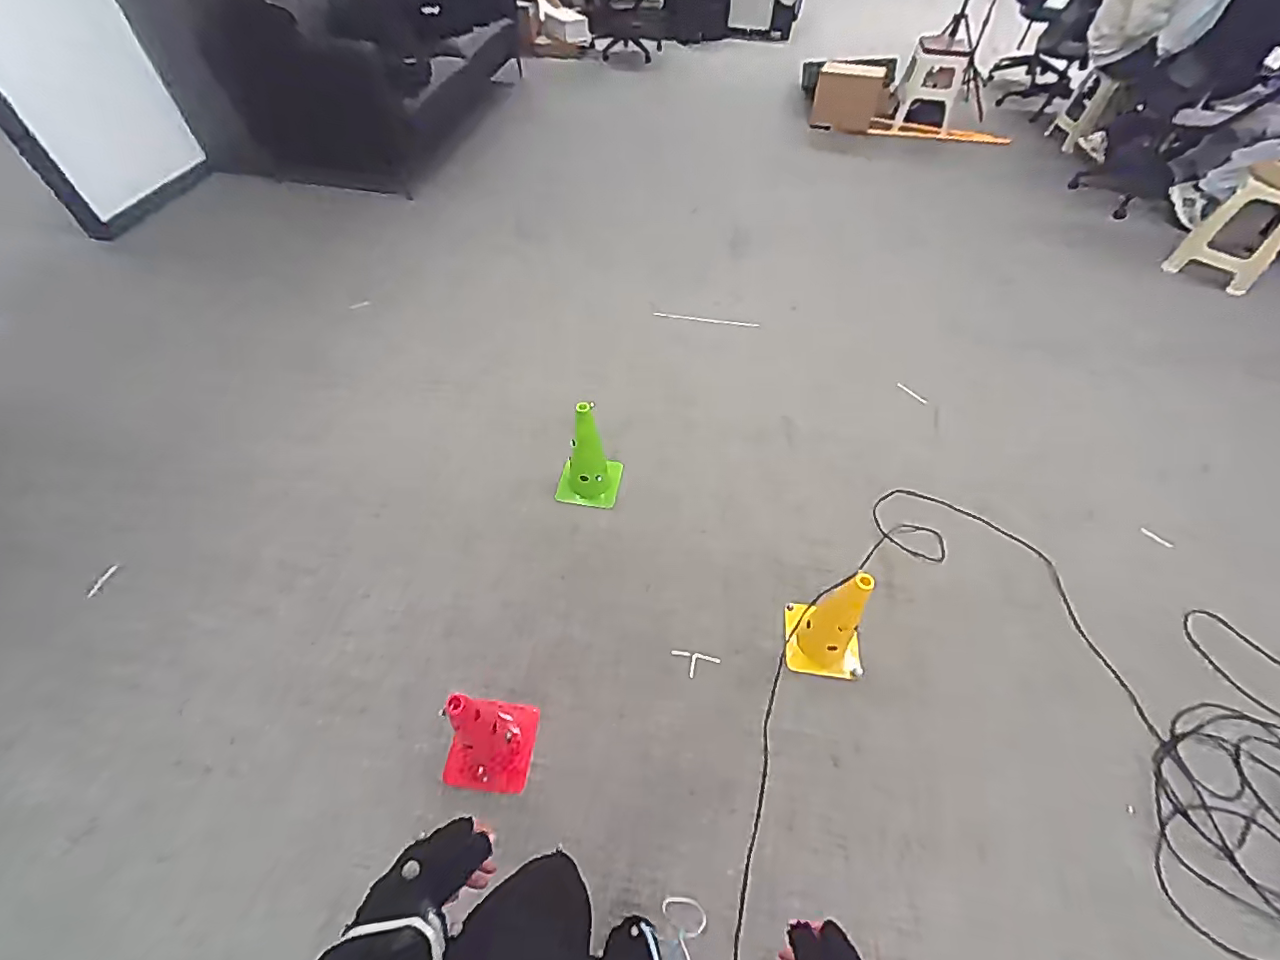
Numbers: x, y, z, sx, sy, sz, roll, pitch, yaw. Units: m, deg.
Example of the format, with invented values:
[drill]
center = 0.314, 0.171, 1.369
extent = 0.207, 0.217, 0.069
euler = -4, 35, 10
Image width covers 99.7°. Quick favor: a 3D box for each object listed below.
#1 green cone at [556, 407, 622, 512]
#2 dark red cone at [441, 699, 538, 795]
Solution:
[green cone]
center = -0.166, -0.088, 1.705
extent = 0.202, 0.368, 0.200
euler = 8, 53, 4
[dark red cone]
center = -0.356, 0.544, 1.174
extent = 0.202, 0.394, 0.201
euler = 4, 53, 3
